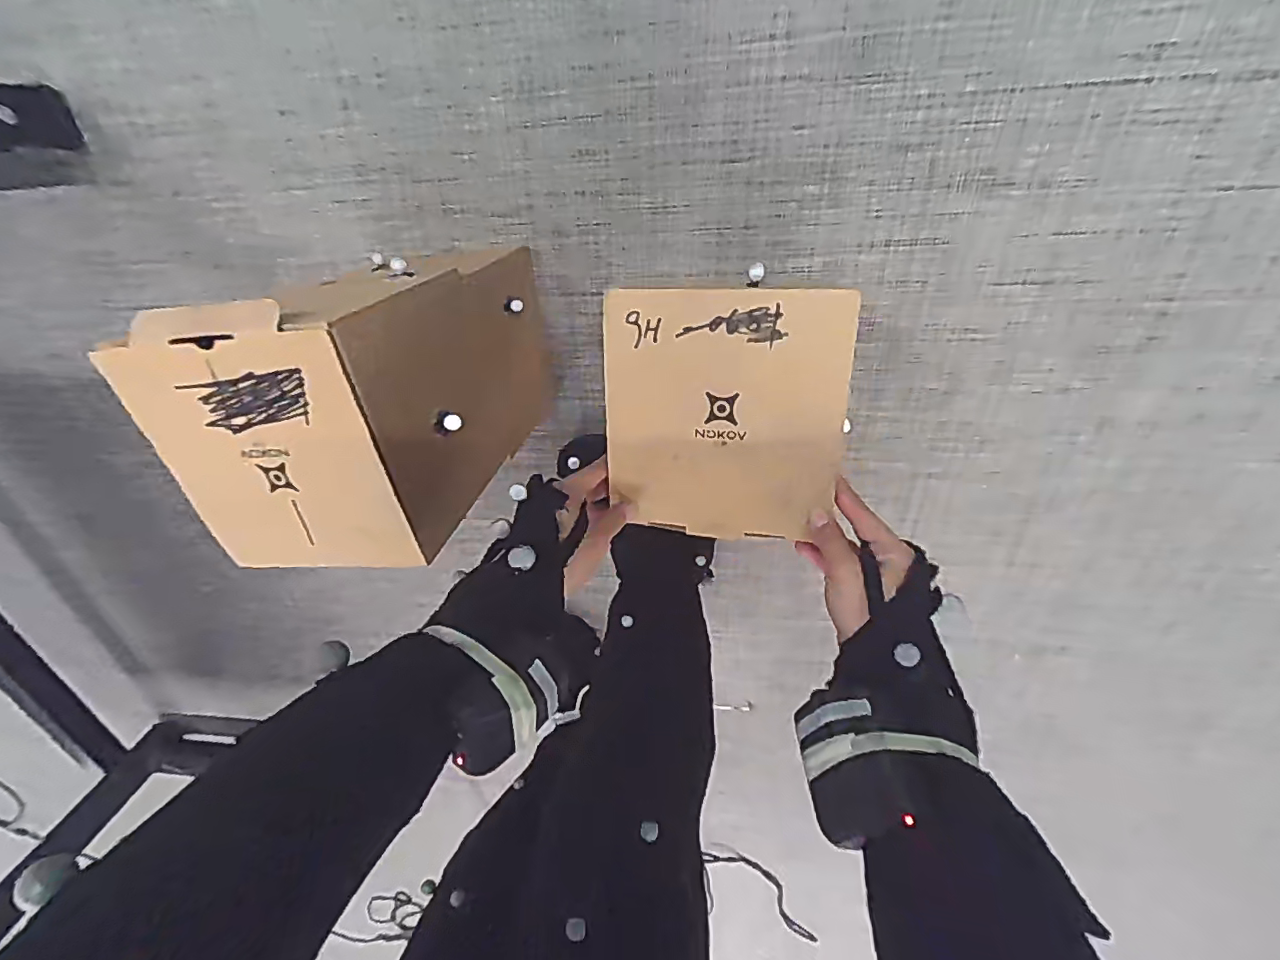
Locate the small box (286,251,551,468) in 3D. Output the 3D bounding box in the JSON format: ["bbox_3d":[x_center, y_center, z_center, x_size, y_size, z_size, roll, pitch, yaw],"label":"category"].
[{"bbox_3d":[-0.204,-0.130,0.557,0.168,0.176,0.179,-2,121,11],"label":"small box"}]

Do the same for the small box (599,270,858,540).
[{"bbox_3d":[0.070,-0.074,0.444,0.168,0.176,0.179,5,114,12],"label":"small box"}]
